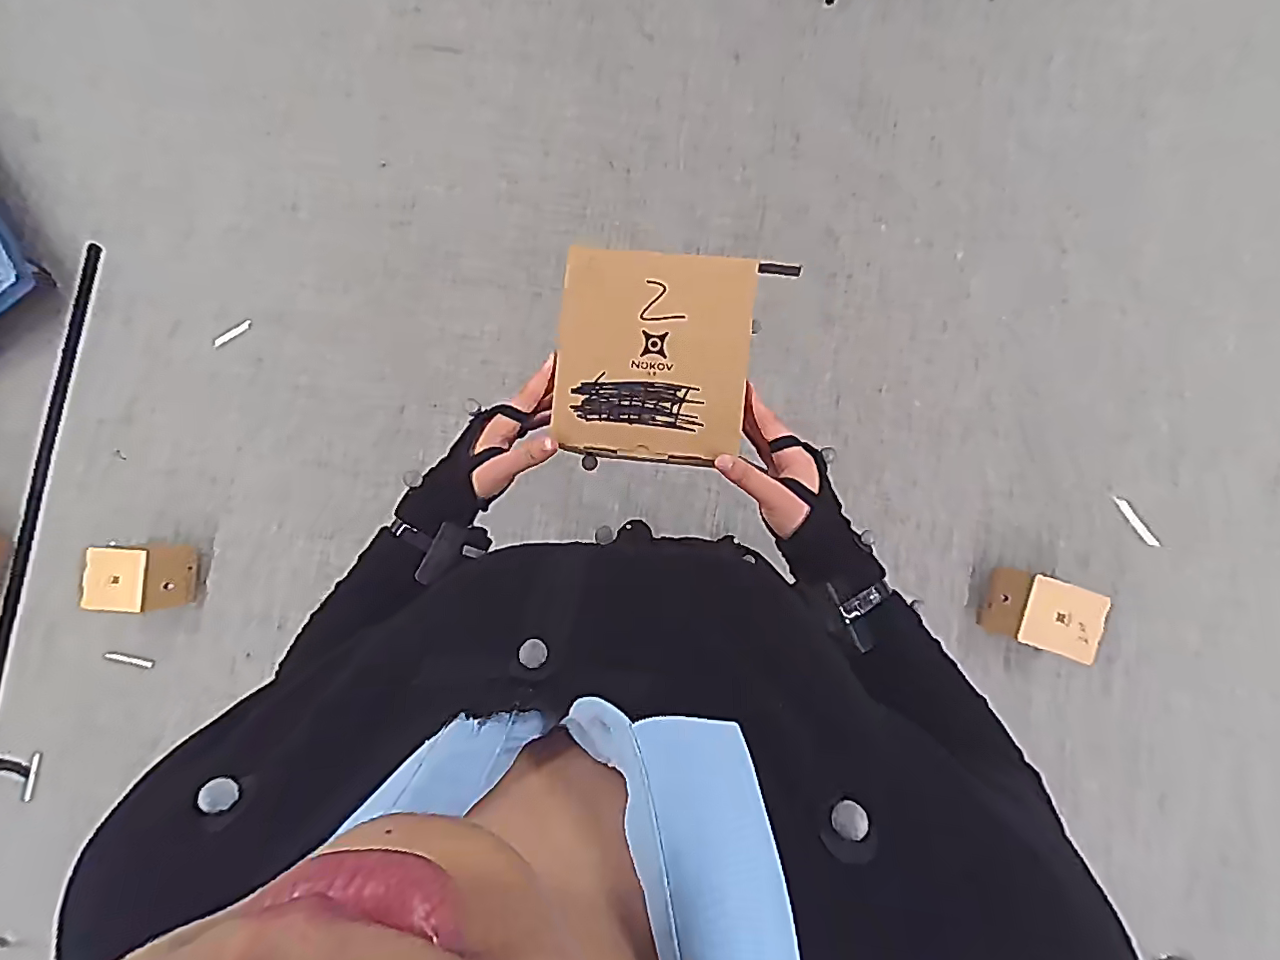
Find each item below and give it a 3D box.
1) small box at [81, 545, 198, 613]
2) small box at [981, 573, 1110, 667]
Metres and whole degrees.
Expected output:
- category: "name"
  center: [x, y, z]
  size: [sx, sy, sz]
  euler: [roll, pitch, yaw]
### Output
- category: "small box"
  center: [-1.398, 0.272, 1.523]
  size: [0.179, 0.176, 0.168]
  euler: [3, 86, 5]
- category: "small box"
  center: [0.989, 0.336, 1.336]
  size: [0.179, 0.176, 0.168]
  euler: [19, 88, 5]
